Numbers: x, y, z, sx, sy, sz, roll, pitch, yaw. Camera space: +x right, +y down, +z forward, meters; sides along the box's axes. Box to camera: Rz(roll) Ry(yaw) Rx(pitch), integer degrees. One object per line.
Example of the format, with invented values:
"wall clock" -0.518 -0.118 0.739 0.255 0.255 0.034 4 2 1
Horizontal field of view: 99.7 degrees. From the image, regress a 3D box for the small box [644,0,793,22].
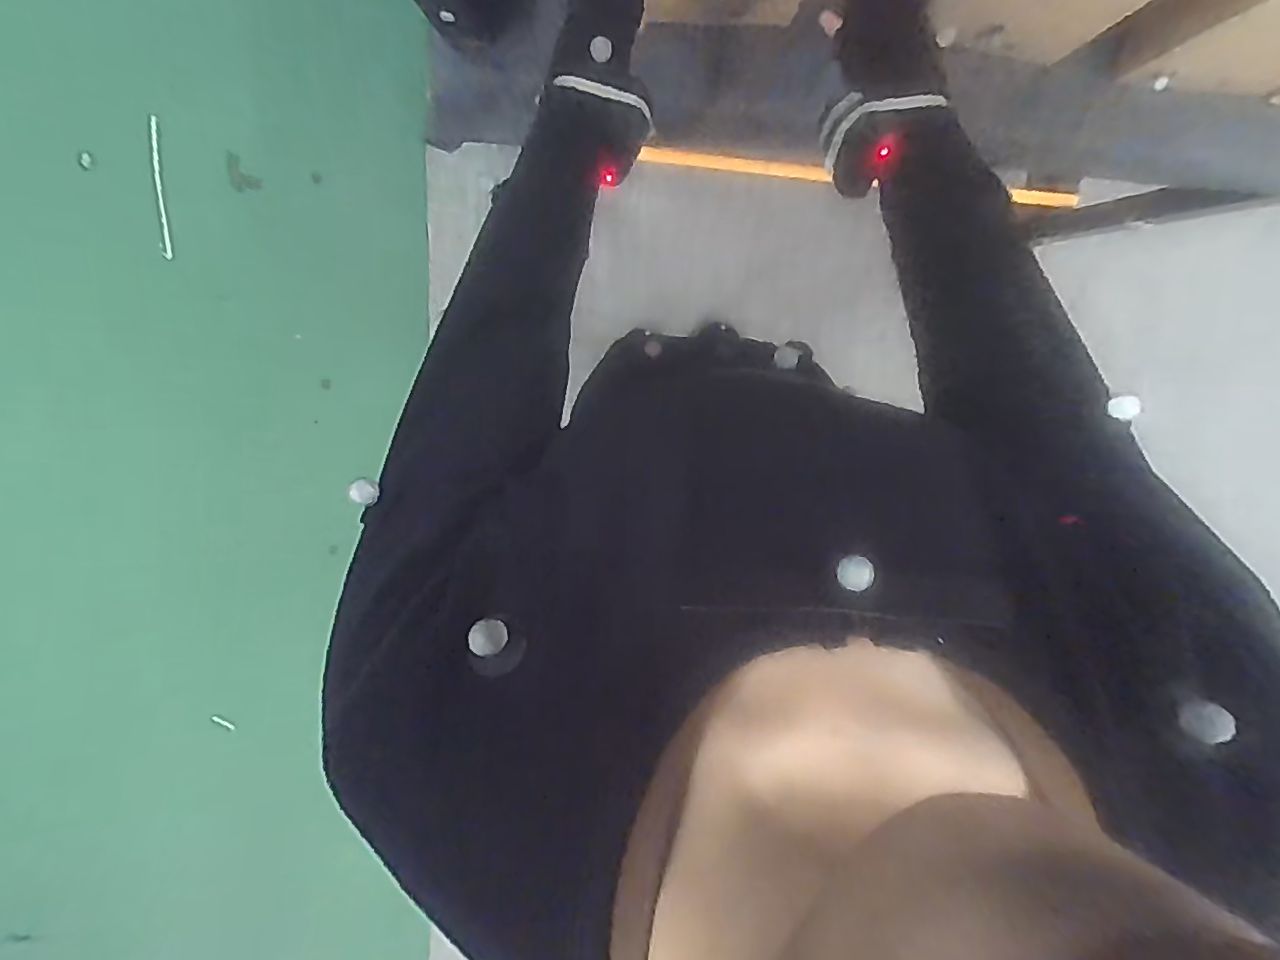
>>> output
"small box" 0.080 -0.553 0.484 0.168 0.176 0.179 1 106 0
